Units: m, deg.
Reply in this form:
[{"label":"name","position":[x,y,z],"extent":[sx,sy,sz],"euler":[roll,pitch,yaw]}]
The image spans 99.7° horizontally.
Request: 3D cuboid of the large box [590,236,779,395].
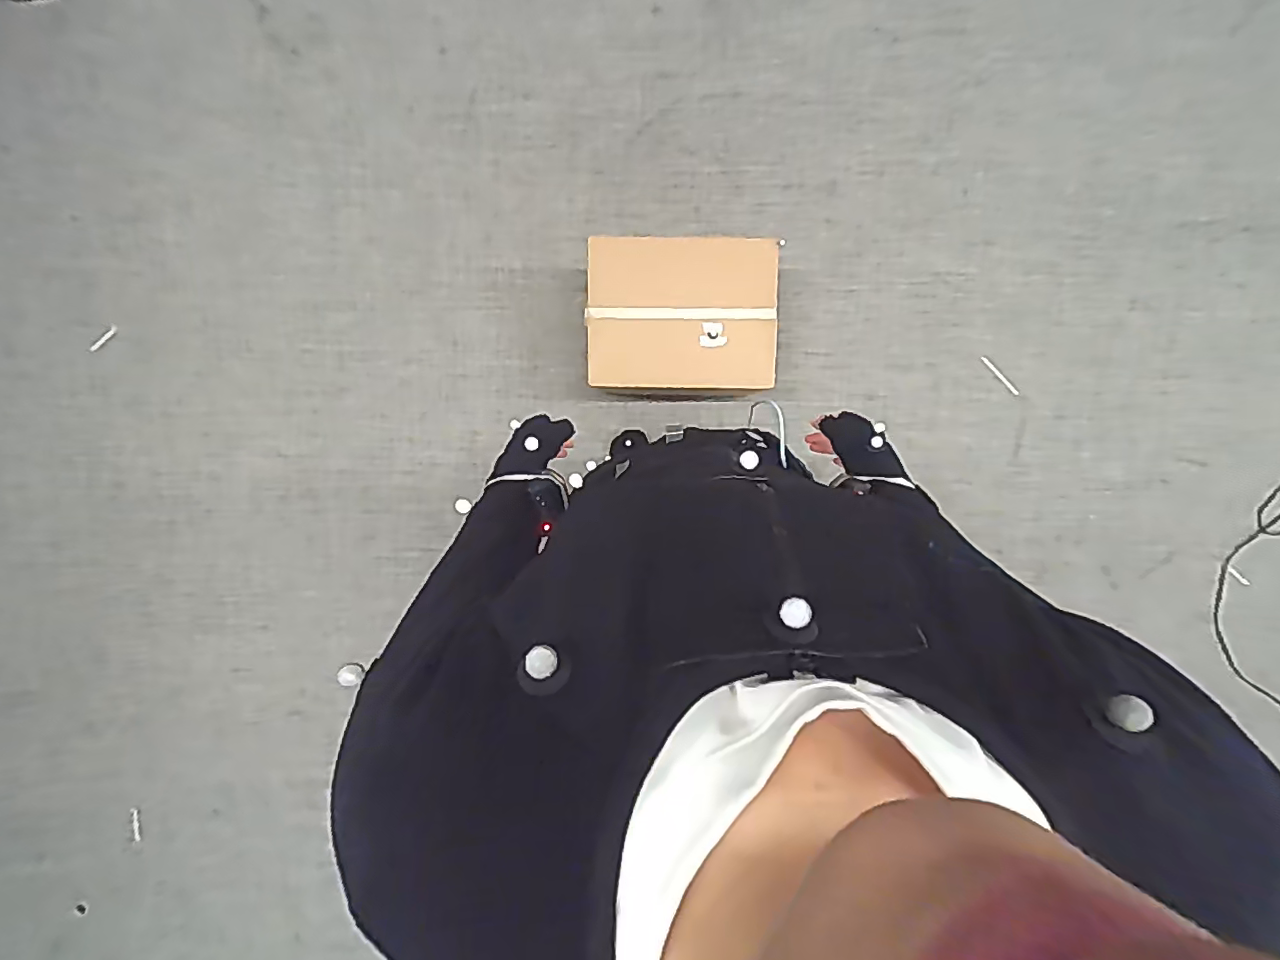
[{"label":"large box","position":[0.093,-0.371,1.295],"extent":[0.408,0.320,0.320],"euler":[1,96,0]}]
